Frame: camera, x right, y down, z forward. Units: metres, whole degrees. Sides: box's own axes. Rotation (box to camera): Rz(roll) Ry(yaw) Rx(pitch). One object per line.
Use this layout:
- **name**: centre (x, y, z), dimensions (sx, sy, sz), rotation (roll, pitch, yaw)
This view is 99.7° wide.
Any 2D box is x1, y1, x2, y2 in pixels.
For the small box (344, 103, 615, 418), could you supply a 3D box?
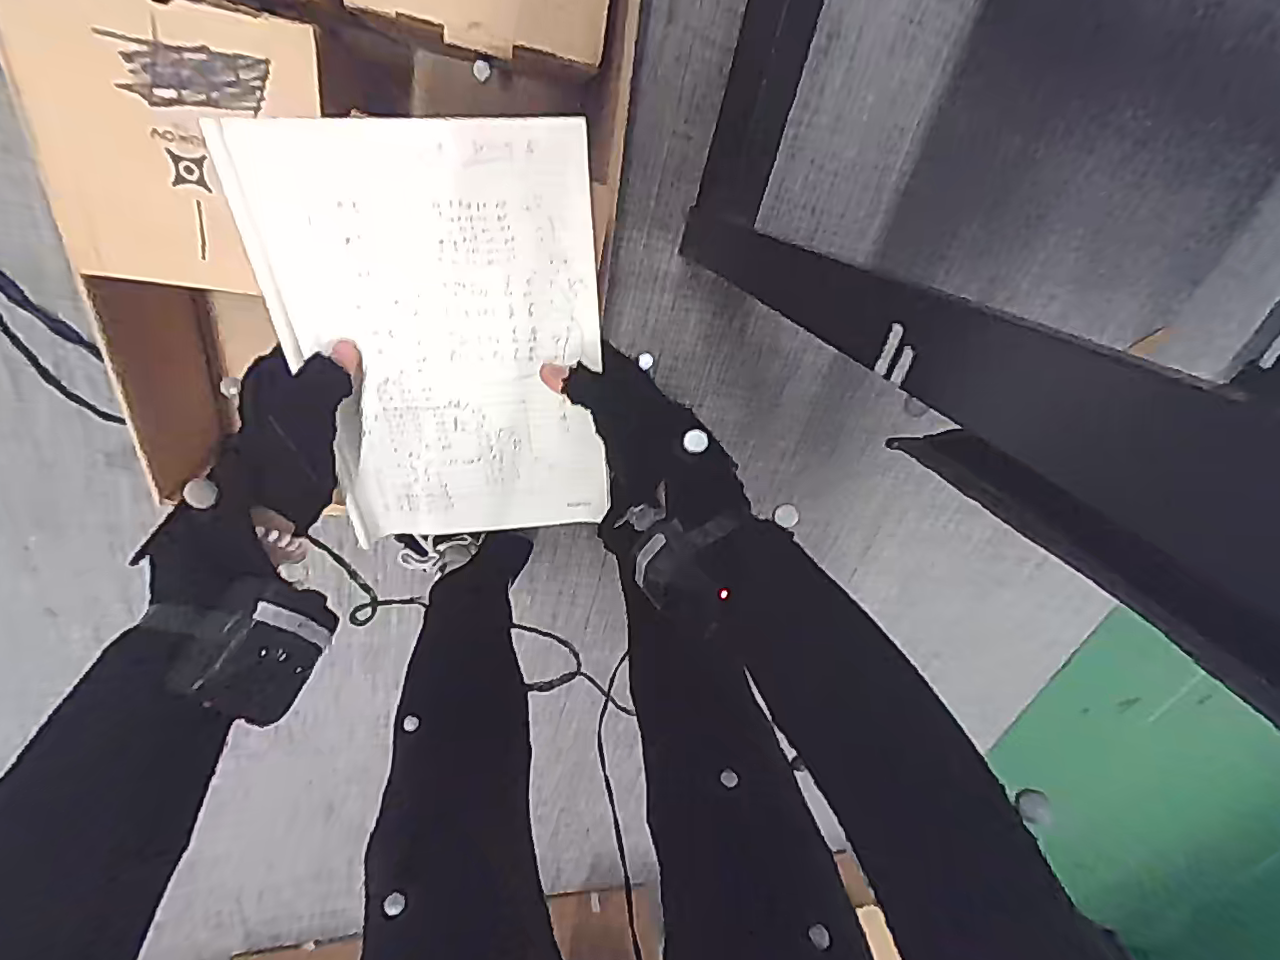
- **small box**: centre (-0.136, -0.166, 0.449), dimensions (0.168, 0.176, 0.179), rotation (7, 108, -22)
